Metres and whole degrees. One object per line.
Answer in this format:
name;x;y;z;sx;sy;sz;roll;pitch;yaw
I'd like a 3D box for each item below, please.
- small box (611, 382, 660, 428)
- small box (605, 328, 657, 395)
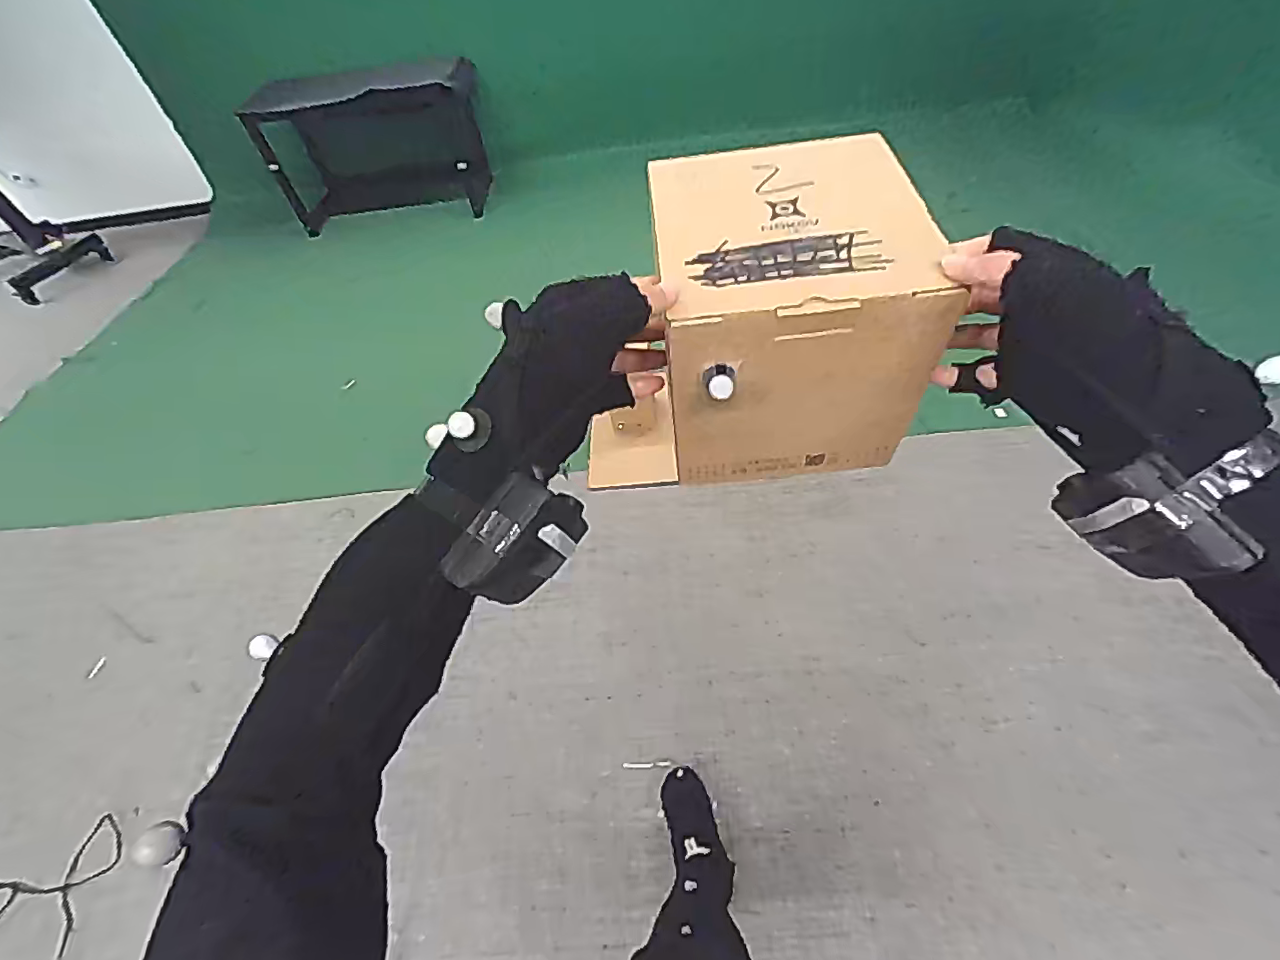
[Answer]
small box;-0.013;-0.312;2.072;0.168;0.176;0.179;-4;48;6
small box;-0.027;-0.428;1.959;0.168;0.176;0.179;-2;49;7
